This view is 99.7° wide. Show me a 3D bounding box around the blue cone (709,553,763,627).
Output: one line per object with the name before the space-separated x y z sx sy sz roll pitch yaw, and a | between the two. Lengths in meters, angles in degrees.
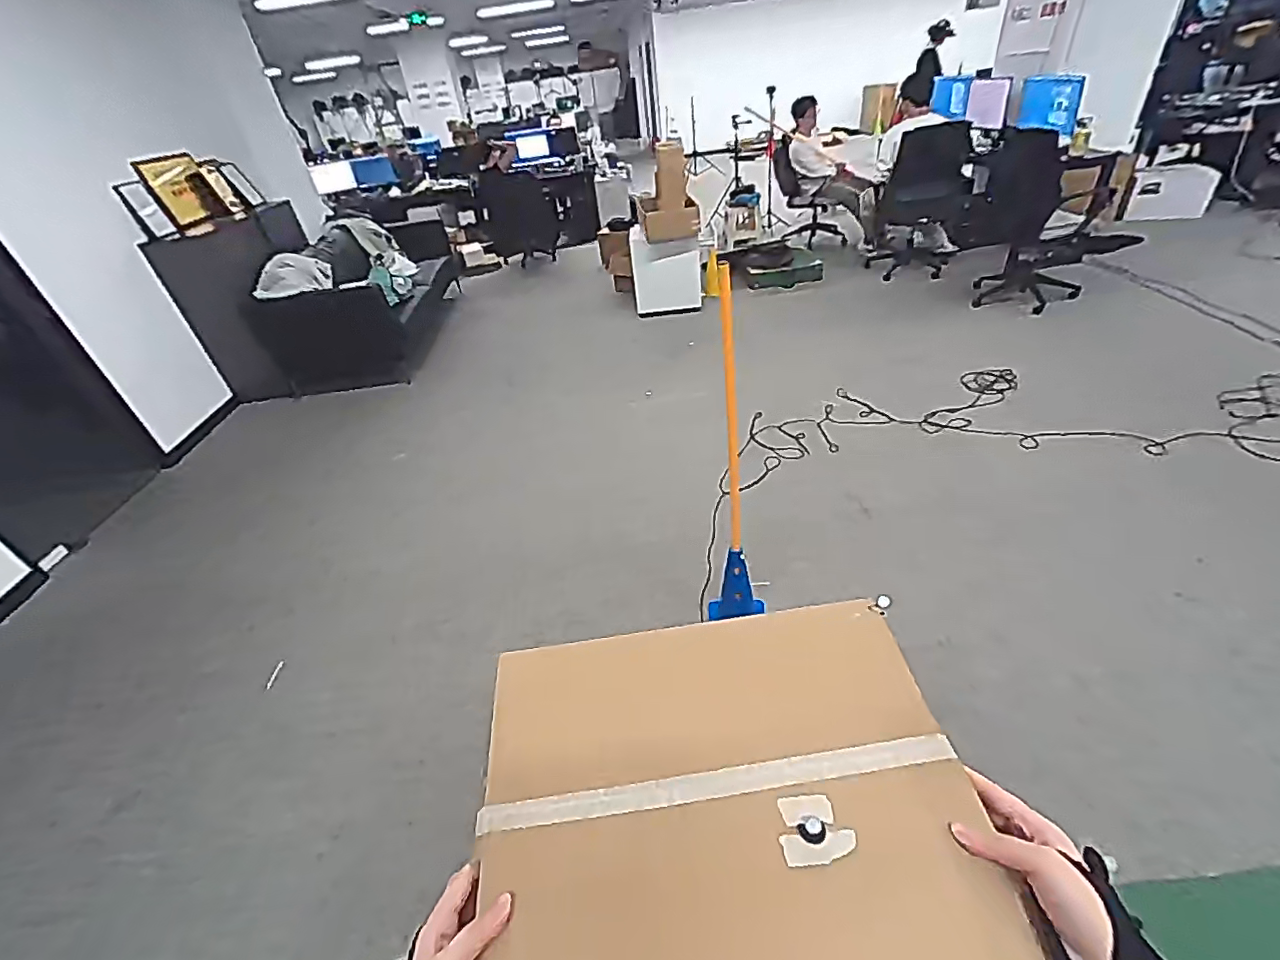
blue cone | 0.315 0.378 1.768 0.193 0.380 0.192 -2 37 8

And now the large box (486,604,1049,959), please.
large box | 0.081 0.374 0.571 0.408 0.320 0.320 -8 43 -2
